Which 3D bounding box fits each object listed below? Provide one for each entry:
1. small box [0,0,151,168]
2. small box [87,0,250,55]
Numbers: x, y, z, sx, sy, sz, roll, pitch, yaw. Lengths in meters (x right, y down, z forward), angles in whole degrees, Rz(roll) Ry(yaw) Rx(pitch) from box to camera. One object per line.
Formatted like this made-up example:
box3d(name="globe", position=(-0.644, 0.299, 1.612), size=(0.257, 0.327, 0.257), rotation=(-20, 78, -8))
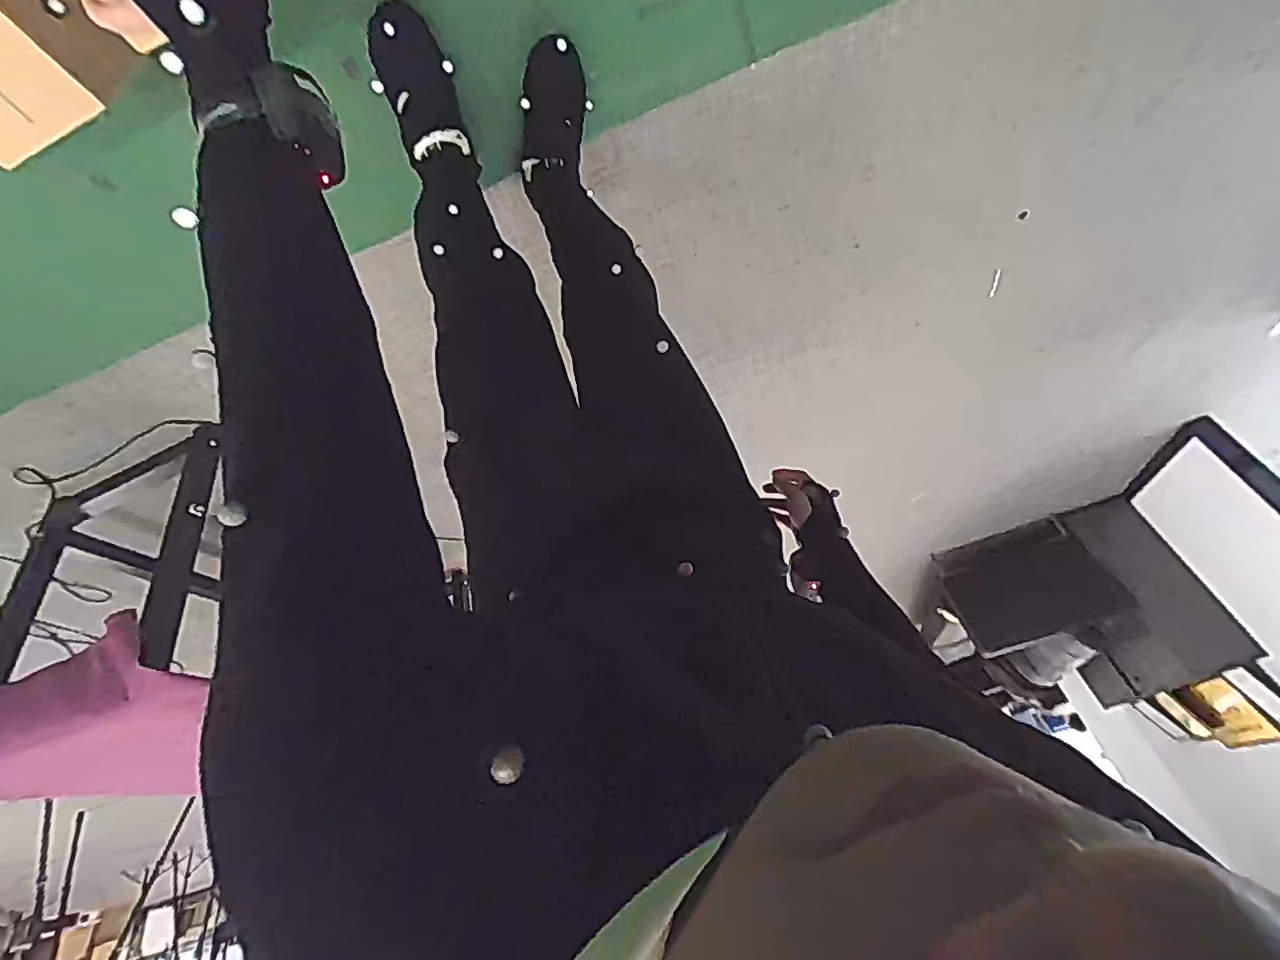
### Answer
box3d(name="small box", position=(-0.739, -0.518, 0.630), size=(0.168, 0.176, 0.179), rotation=(-21, 146, 9))
box3d(name="small box", position=(-0.374, -0.480, 0.411), size=(0.168, 0.176, 0.179), rotation=(-19, 144, 8))
